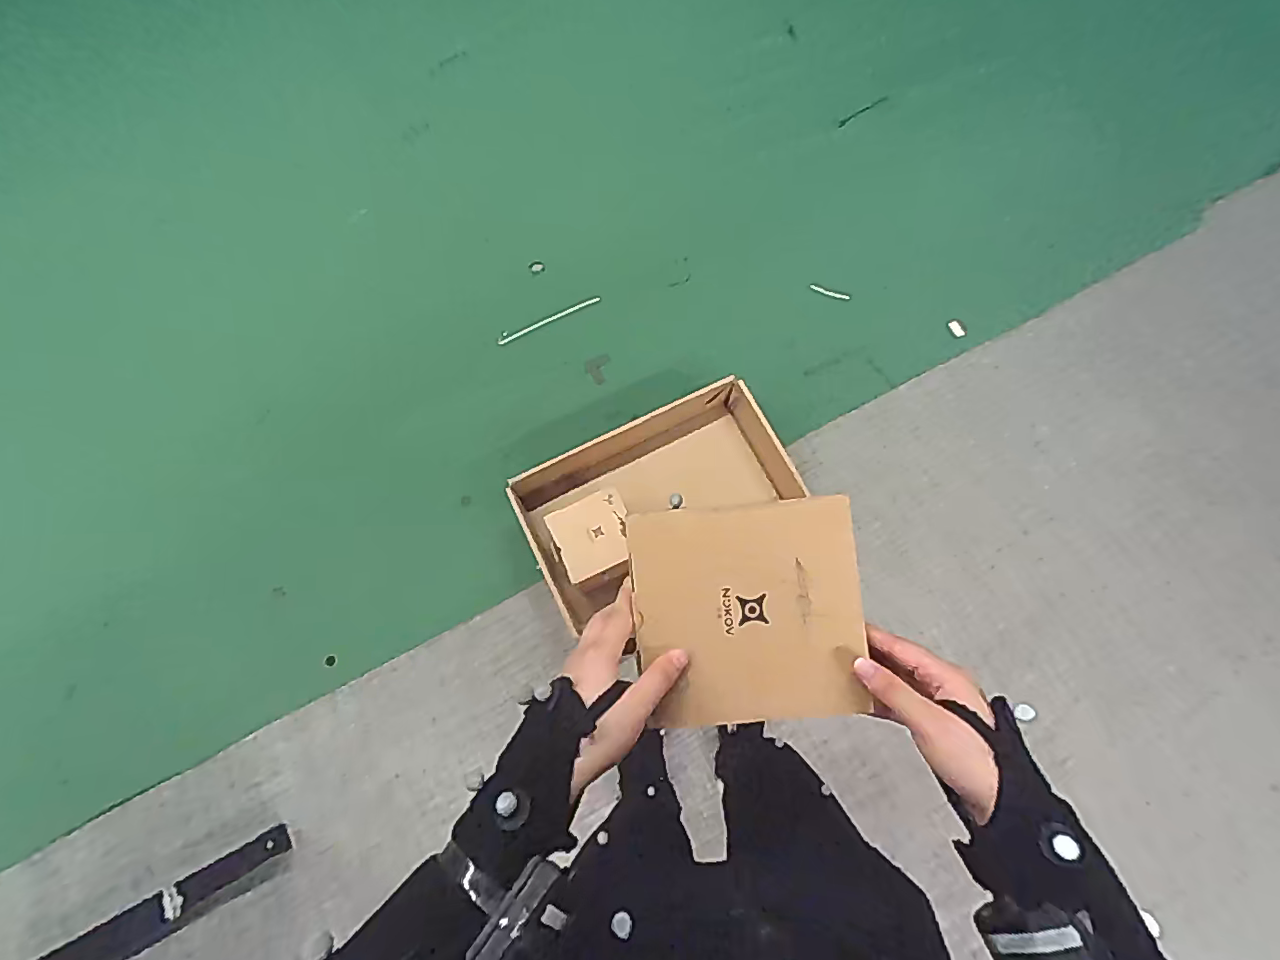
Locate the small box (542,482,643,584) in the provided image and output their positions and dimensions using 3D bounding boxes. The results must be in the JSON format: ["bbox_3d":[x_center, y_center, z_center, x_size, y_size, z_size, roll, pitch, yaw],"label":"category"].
[{"bbox_3d":[-0.104,0.128,1.242,0.179,0.176,0.168,-24,77,-7],"label":"small box"}]
